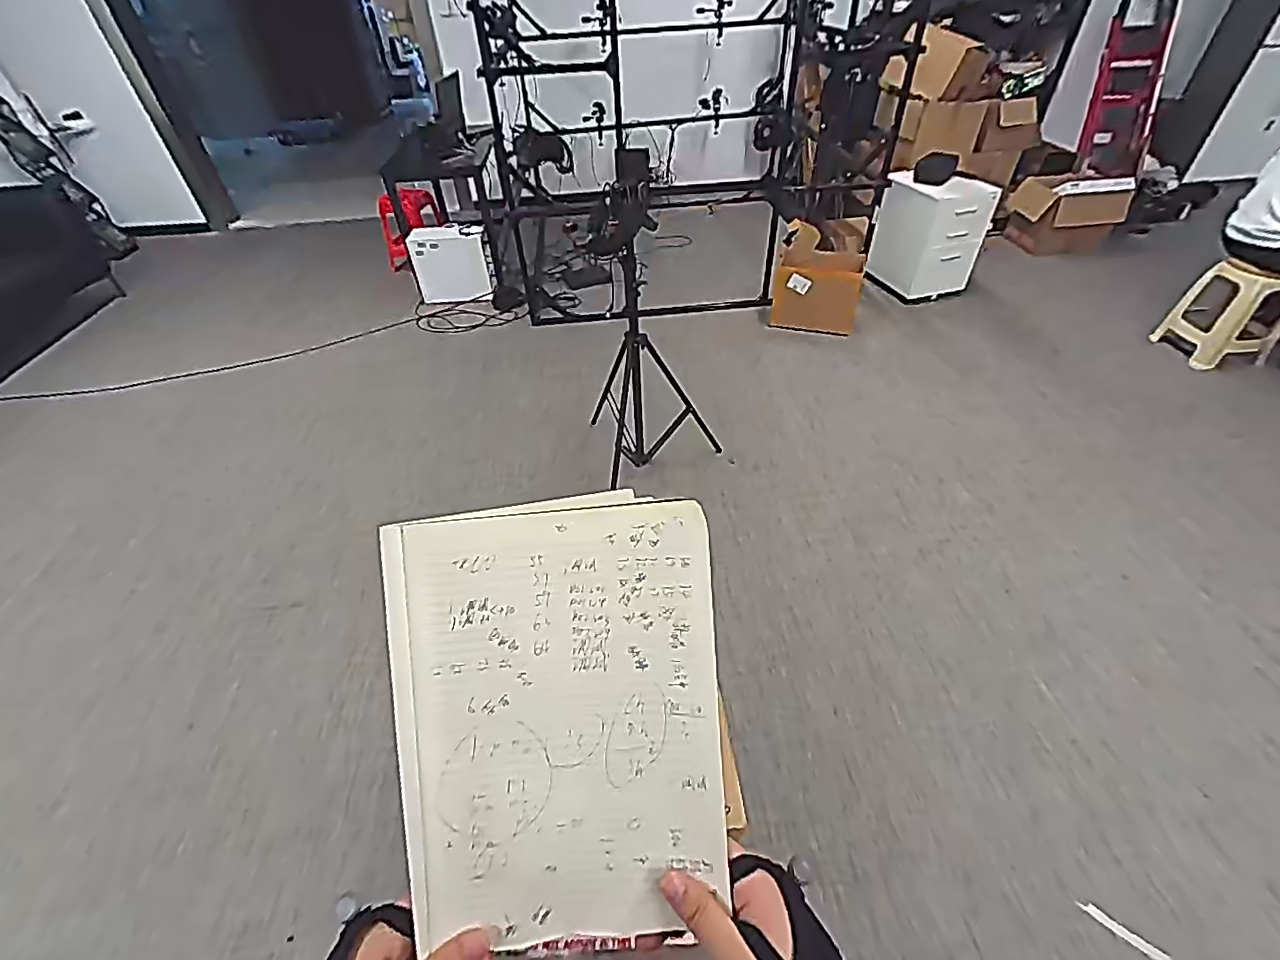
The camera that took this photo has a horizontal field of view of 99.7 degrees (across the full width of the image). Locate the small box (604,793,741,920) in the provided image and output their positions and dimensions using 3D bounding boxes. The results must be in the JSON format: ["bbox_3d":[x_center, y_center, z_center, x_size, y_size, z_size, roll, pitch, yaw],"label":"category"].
[{"bbox_3d":[0.040,0.546,0.825,0.179,0.176,0.168,-6,44,-5],"label":"small box"}]

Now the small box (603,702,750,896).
[{"bbox_3d":[0.036,0.421,0.719,0.168,0.176,0.179,-4,43,-4],"label":"small box"}]
